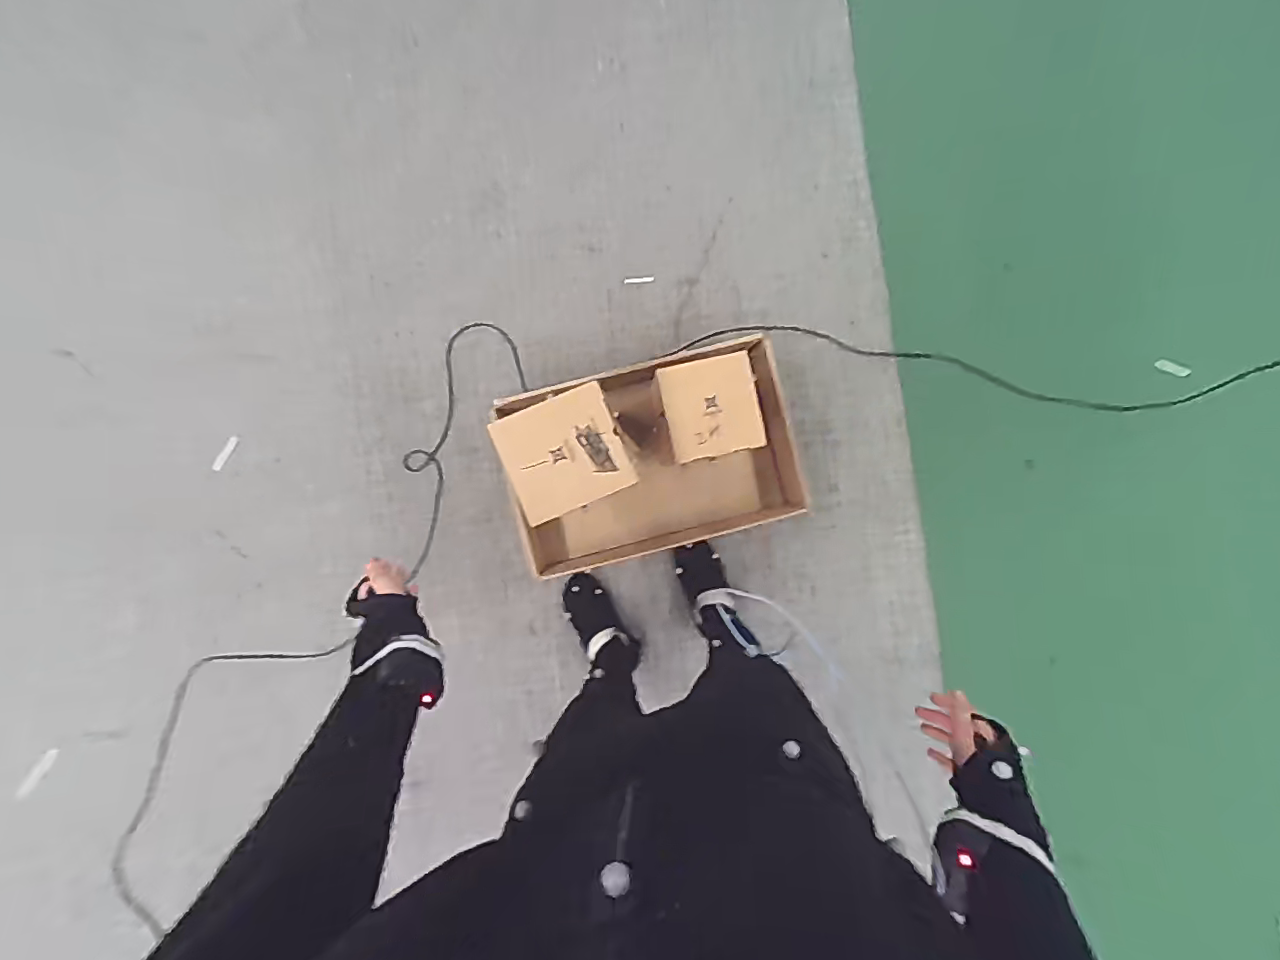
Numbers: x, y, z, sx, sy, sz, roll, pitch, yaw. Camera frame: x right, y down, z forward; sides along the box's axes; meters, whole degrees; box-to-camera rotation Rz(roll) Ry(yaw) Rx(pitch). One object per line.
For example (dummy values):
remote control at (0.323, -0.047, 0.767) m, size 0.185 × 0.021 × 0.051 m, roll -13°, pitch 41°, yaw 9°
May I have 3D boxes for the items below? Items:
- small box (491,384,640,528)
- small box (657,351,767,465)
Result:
small box at (-0.113, -0.038, 0.873) m, size 0.179 × 0.176 × 0.168 m, roll -23°, pitch 92°, yaw -1°
small box at (0.128, -0.129, 1.036) m, size 0.168 × 0.176 × 0.179 m, roll -12°, pitch 91°, yaw 0°
